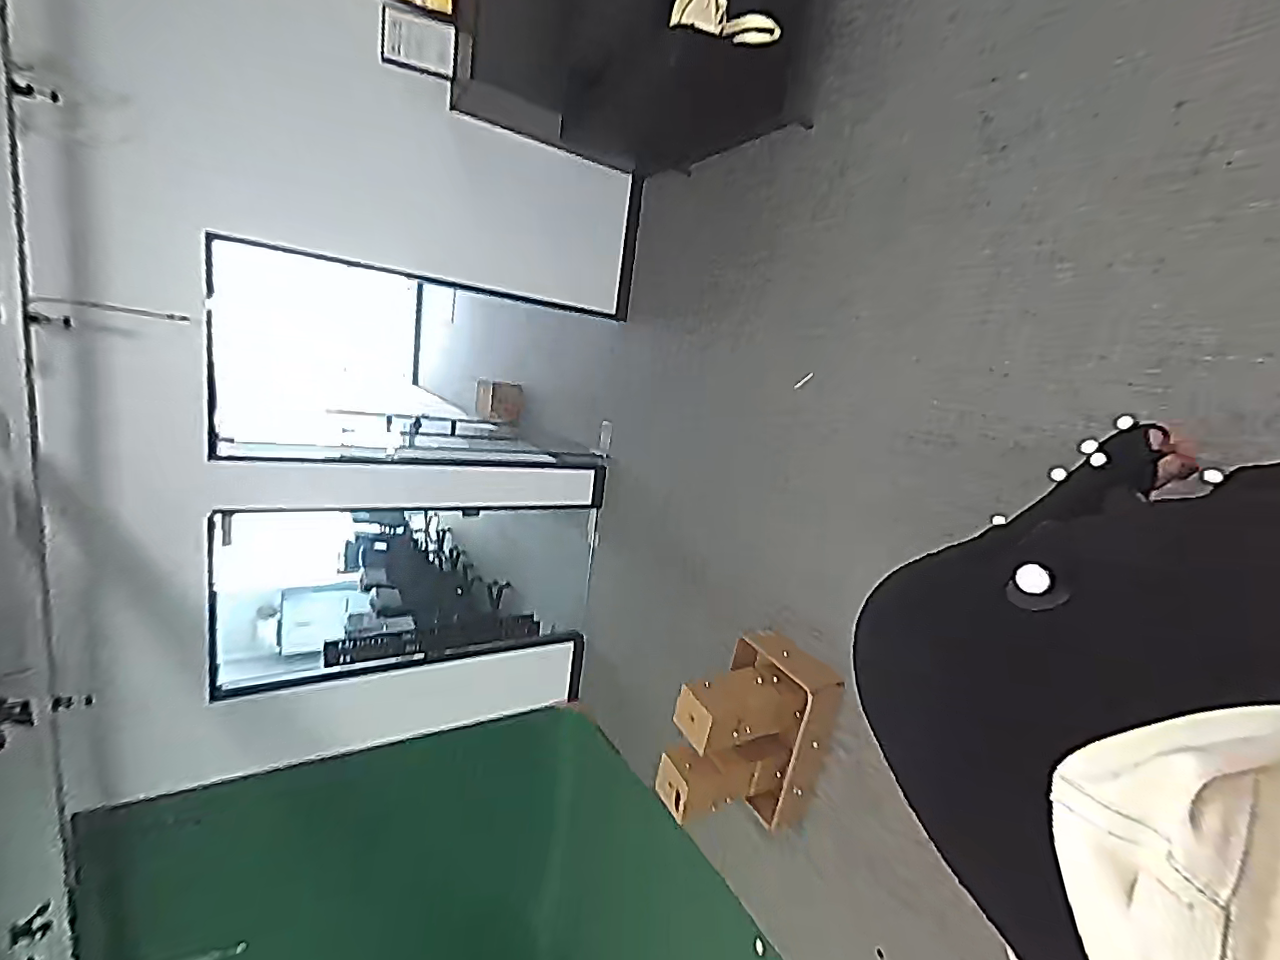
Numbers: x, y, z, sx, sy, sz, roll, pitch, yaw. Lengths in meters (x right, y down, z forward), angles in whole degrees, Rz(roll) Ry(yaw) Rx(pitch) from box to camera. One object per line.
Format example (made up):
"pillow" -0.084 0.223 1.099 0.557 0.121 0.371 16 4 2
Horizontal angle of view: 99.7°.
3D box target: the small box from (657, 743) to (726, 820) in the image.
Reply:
"small box" 0.190 1.091 1.980 0.179 0.176 0.168 34 117 56

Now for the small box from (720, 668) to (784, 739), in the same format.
"small box" 0.392 0.808 1.977 0.179 0.176 0.168 37 119 53

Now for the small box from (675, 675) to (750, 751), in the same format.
"small box" 0.254 0.806 1.891 0.179 0.176 0.168 36 120 52

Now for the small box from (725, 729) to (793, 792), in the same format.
"small box" 0.472 1.091 2.148 0.179 0.176 0.168 34 117 54

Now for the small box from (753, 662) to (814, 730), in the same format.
"small box" 0.529 0.818 2.067 0.179 0.176 0.168 34 117 53
